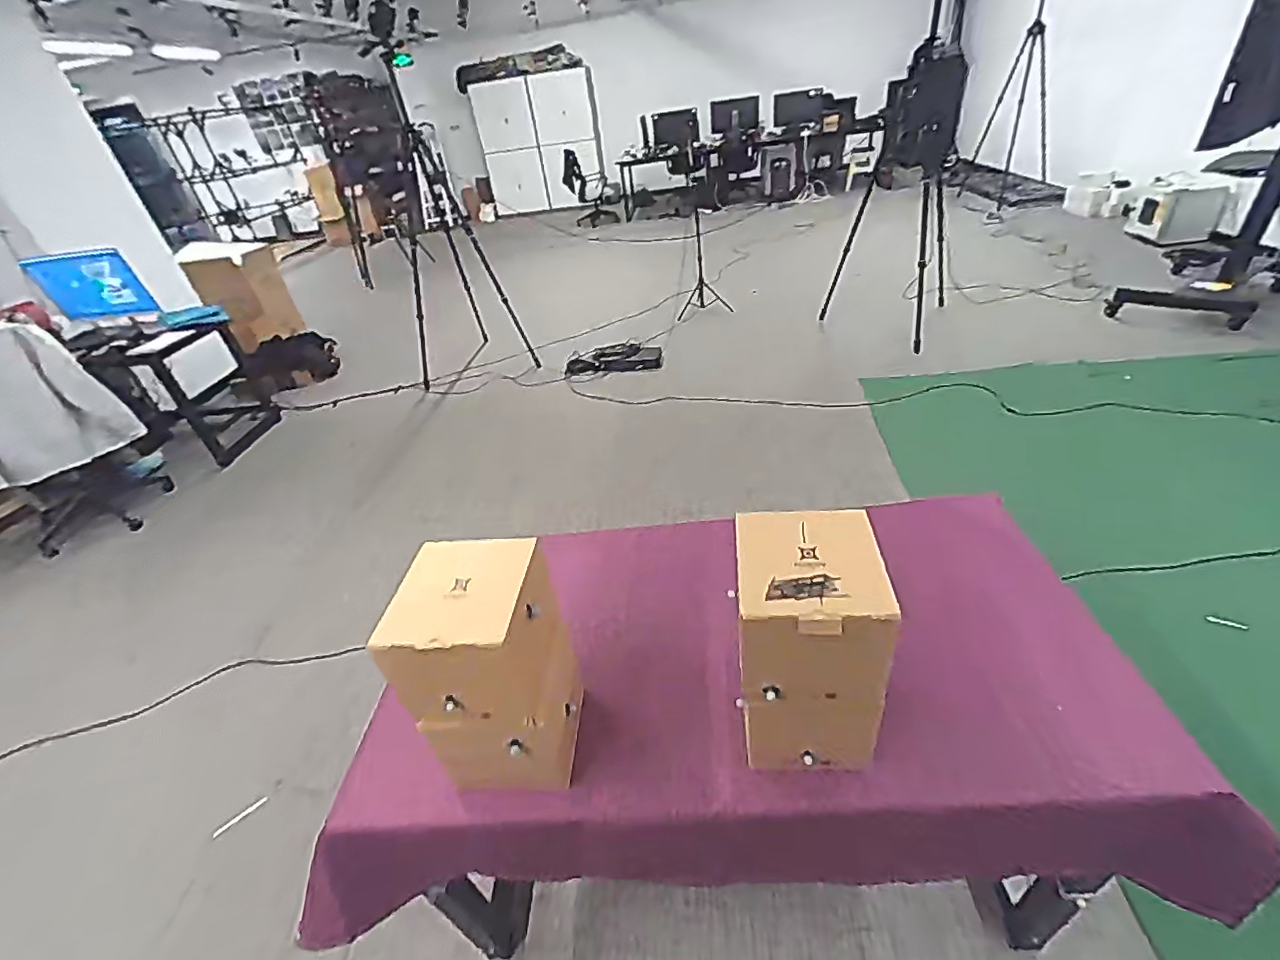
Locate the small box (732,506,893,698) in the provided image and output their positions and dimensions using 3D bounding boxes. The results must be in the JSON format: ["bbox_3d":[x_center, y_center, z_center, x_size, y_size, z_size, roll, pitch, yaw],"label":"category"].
[{"bbox_3d":[0.206,0.155,0.682,0.168,0.176,0.179,-3,36,10],"label":"small box"}]

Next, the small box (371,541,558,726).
[{"bbox_3d":[-0.215,0.203,0.724,0.168,0.176,0.179,-4,37,8],"label":"small box"}]

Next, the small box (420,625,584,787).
[{"bbox_3d":[-0.190,0.339,0.811,0.179,0.176,0.168,-5,35,7],"label":"small box"}]
